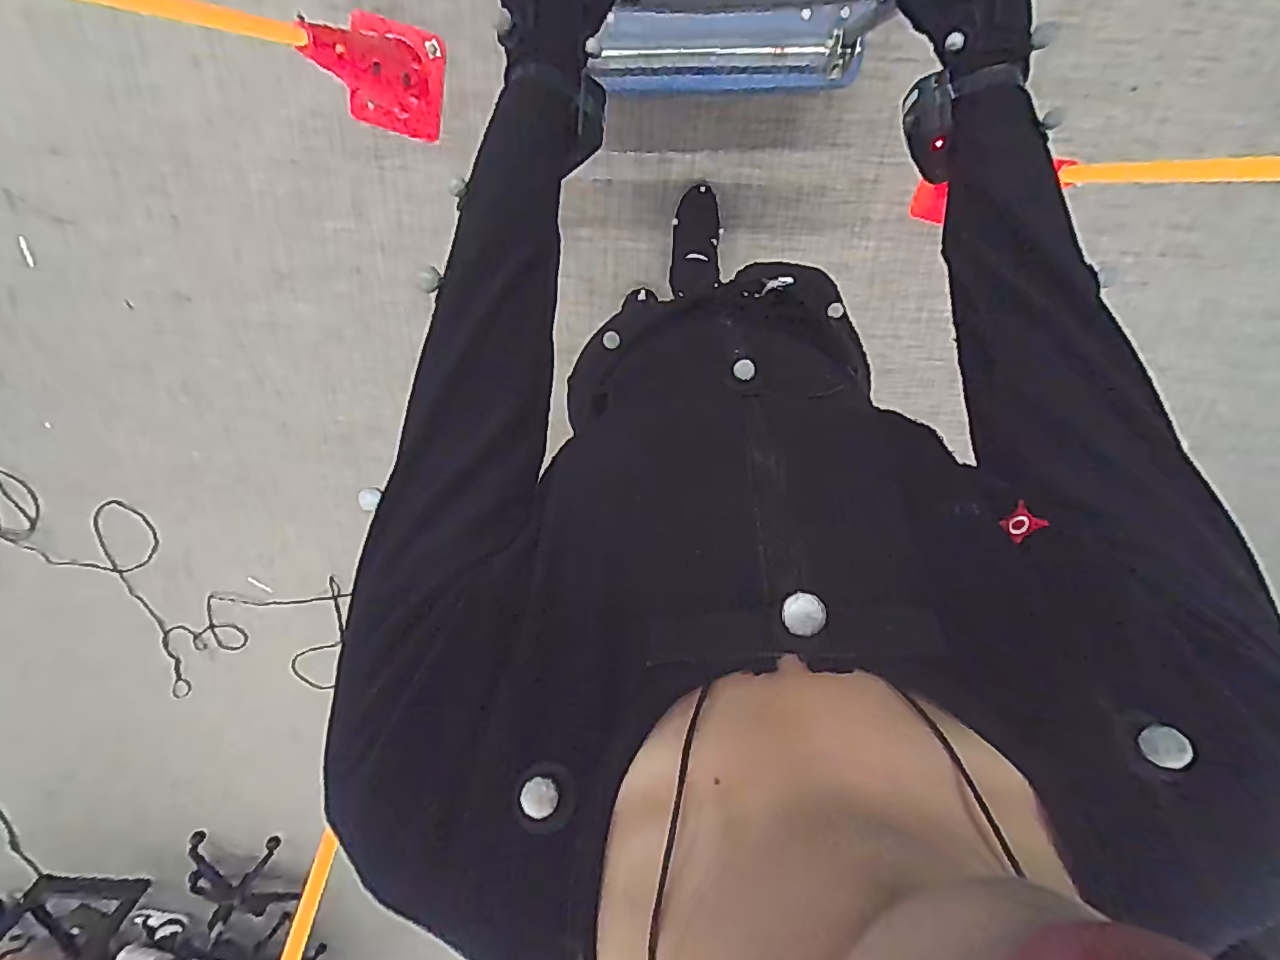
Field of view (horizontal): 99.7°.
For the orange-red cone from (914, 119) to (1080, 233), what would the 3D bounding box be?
[{"bbox_3d":[0.737,-0.599,1.069,0.198,0.360,0.199,14,119,-4],"label":"orange-red cone"}]
